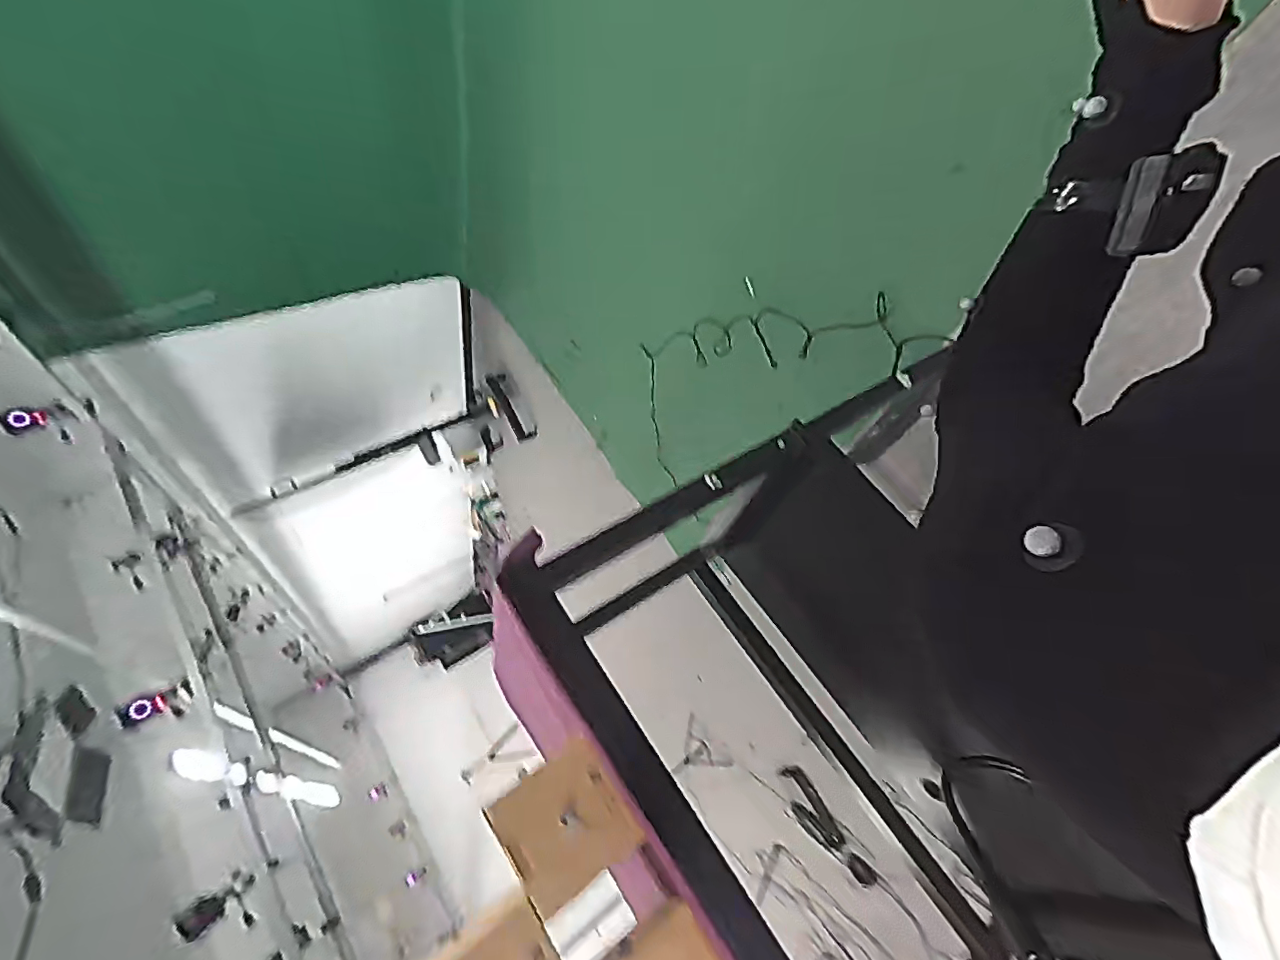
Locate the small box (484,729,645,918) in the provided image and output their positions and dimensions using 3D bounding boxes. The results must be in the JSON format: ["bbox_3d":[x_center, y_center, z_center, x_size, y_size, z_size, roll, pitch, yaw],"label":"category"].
[{"bbox_3d":[-0.114,0.496,0.803,0.168,0.176,0.179,54,149,18],"label":"small box"}]

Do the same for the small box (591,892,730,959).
[{"bbox_3d":[0.038,0.688,0.712,0.179,0.176,0.168,51,149,21],"label":"small box"}]
